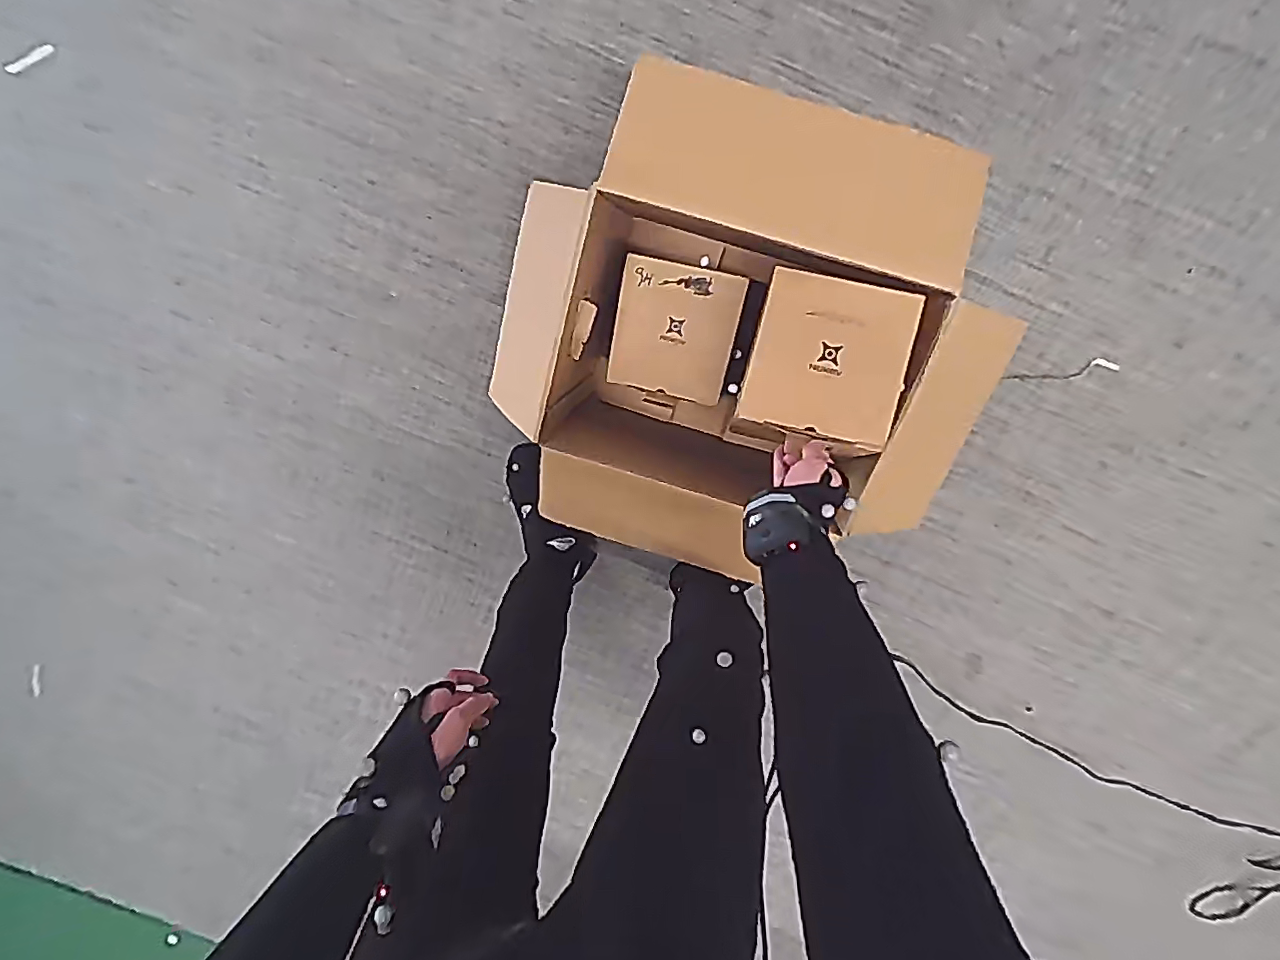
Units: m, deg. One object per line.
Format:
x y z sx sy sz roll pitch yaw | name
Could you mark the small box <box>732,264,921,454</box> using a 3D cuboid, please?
0.215 -0.136 0.675 0.168 0.176 0.179 15 90 7 | small box
